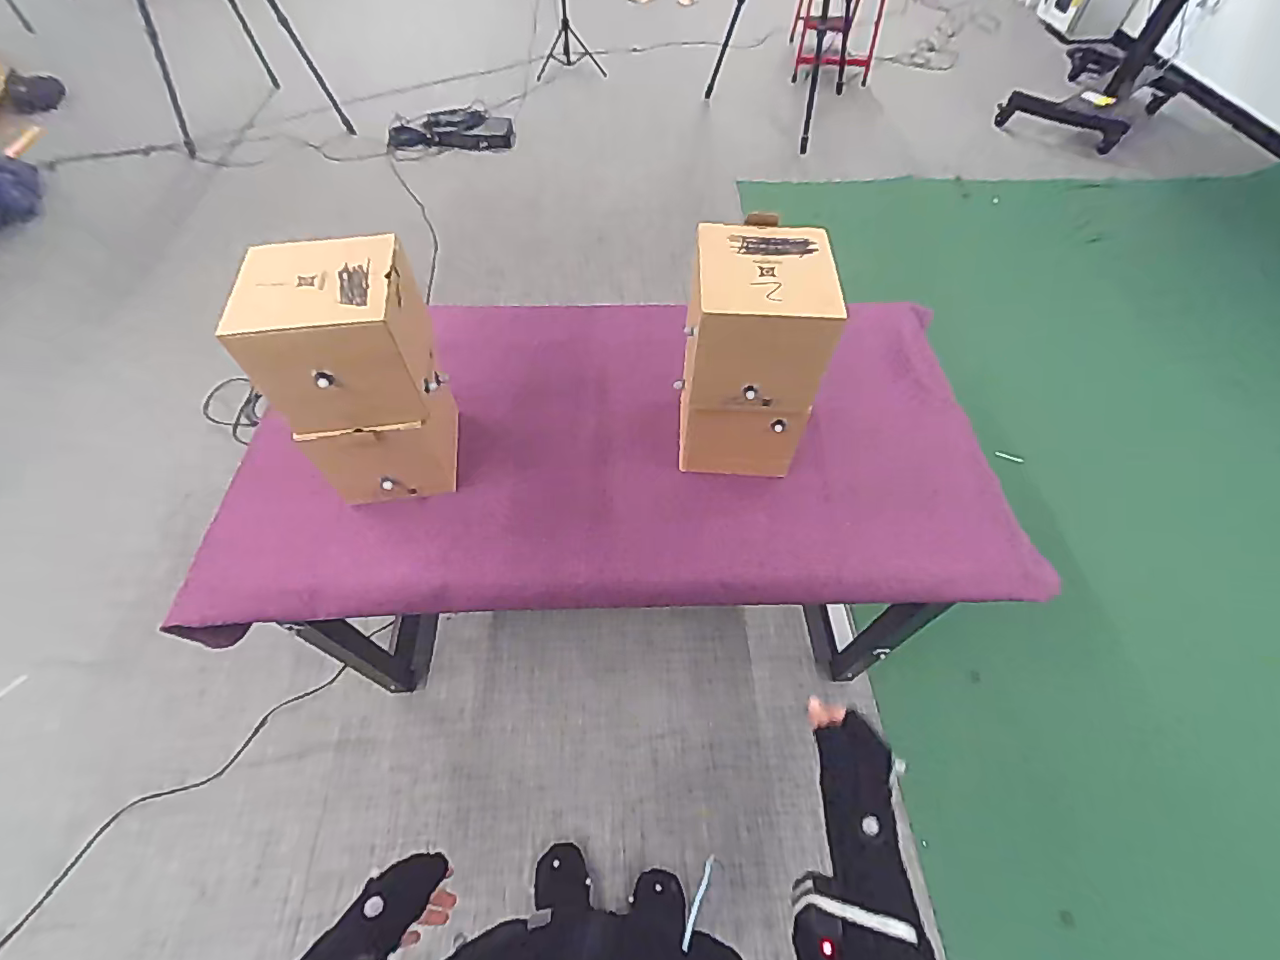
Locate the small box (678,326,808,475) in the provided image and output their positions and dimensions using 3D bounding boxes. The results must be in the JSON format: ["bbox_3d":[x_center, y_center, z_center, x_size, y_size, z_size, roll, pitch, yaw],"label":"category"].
[{"bbox_3d":[0.151,-0.121,0.857,0.179,0.176,0.168,3,56,2],"label":"small box"}]

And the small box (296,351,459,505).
[{"bbox_3d":[-0.383,-0.084,0.826,0.168,0.176,0.179,-7,57,-5],"label":"small box"}]

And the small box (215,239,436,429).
[{"bbox_3d":[-0.376,-0.182,0.690,0.179,0.176,0.168,-5,54,-4],"label":"small box"}]
